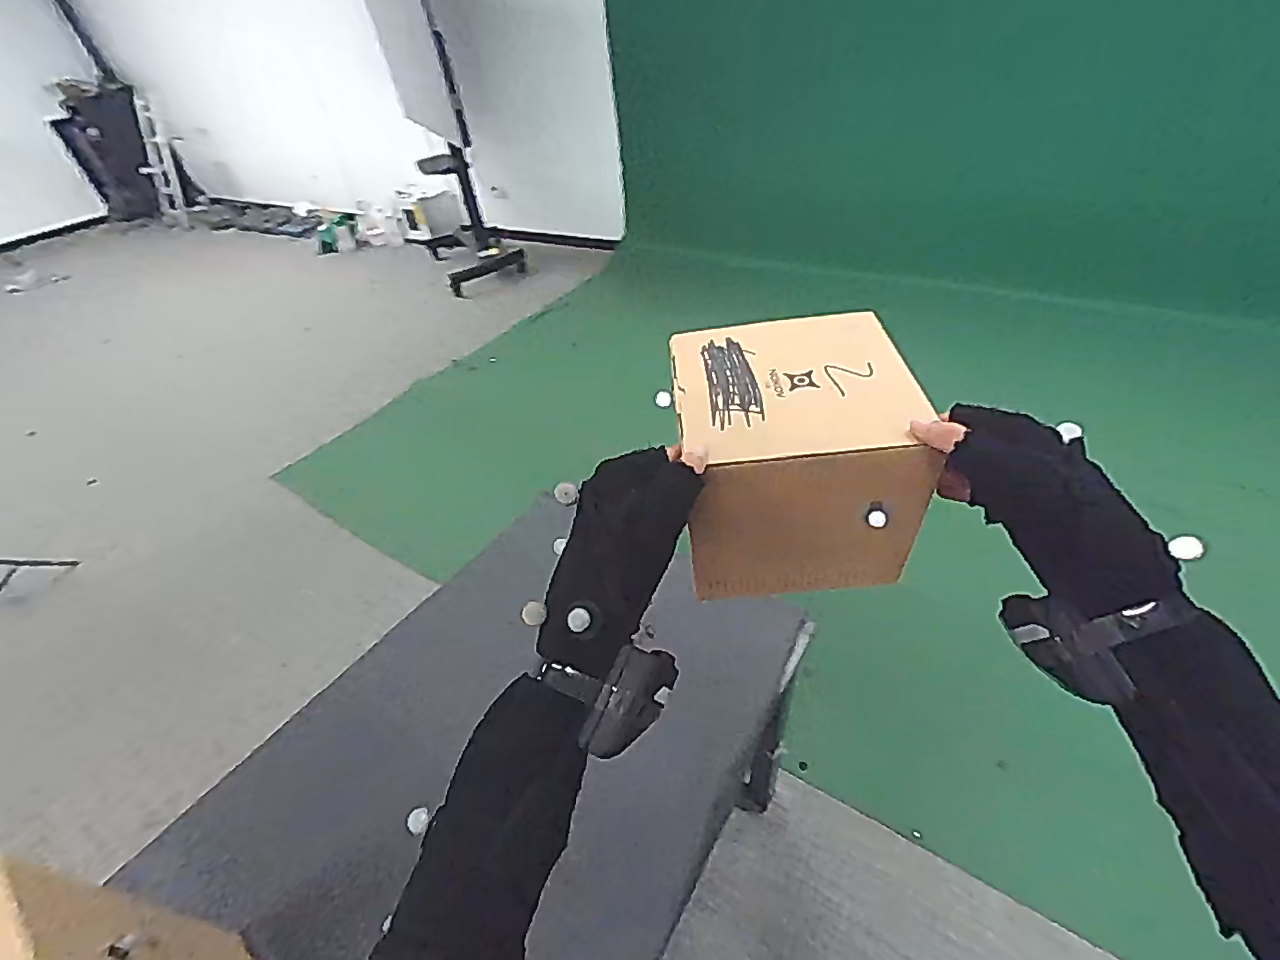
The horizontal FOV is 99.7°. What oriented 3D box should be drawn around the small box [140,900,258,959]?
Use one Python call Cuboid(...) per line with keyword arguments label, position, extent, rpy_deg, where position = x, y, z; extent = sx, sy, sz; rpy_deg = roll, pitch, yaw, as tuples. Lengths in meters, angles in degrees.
Cuboid(label="small box", position=(-0.461, 0.543, 0.488), extent=(0.168, 0.176, 0.179), rpy_deg=(23, 48, 30))
